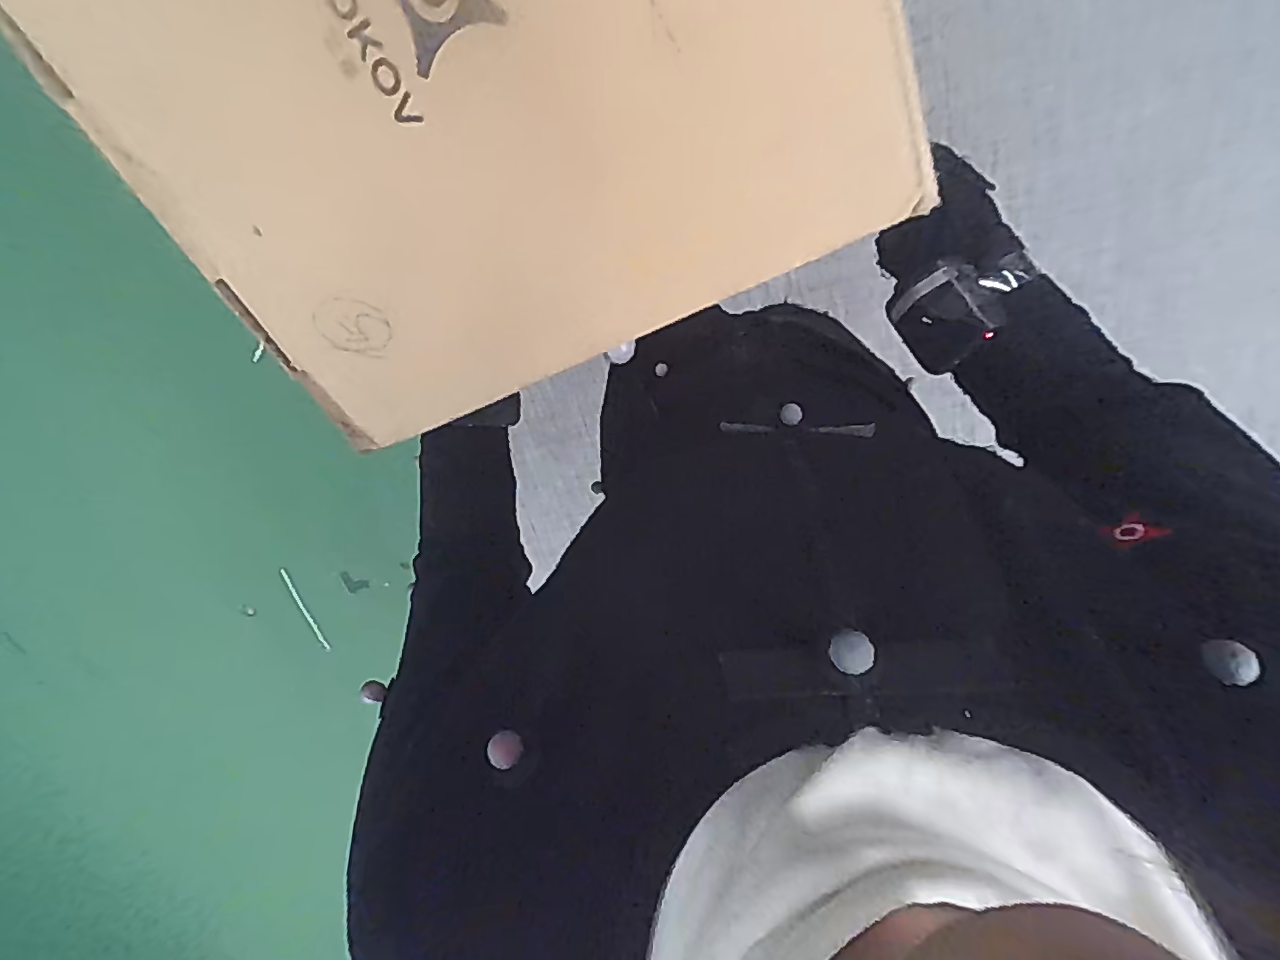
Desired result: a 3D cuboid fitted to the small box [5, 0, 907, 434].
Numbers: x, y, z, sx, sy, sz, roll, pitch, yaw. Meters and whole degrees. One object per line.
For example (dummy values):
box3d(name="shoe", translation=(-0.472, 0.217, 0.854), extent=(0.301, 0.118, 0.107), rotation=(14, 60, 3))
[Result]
box3d(name="small box", translation=(-0.041, -0.147, 0.182), extent=(0.179, 0.176, 0.168), rotation=(-20, 120, 16))
